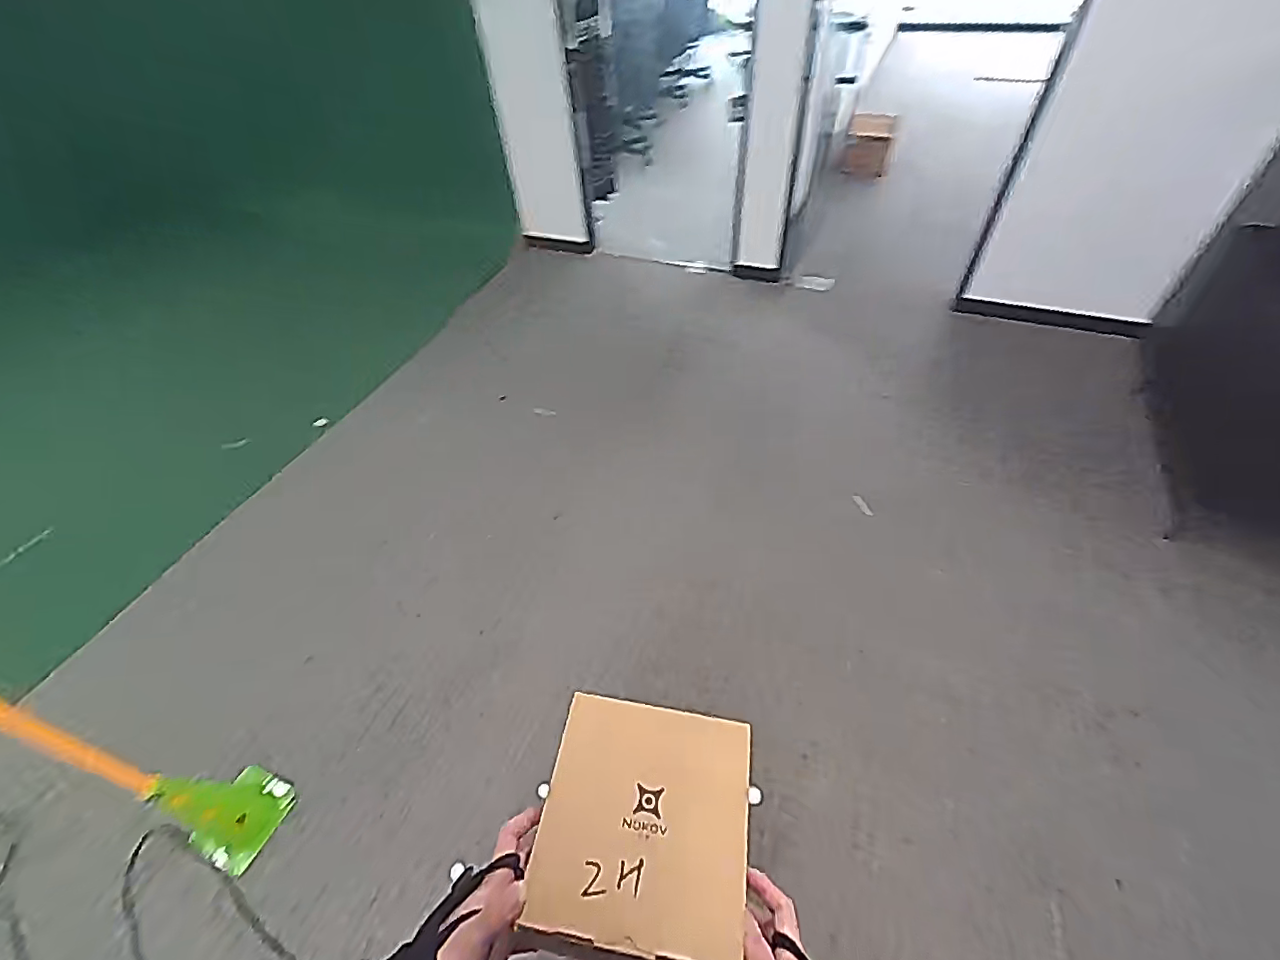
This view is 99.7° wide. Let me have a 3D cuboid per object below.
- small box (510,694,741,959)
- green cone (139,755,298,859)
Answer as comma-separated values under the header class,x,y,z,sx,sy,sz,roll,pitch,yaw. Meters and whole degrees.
class,x,y,z,sx,sy,sz,roll,pitch,yaw
small box,-0.005,0.331,0.502,0.168,0.176,0.179,8,45,6
green cone,-1.069,0.765,1.327,0.200,0.368,0.202,16,53,18
